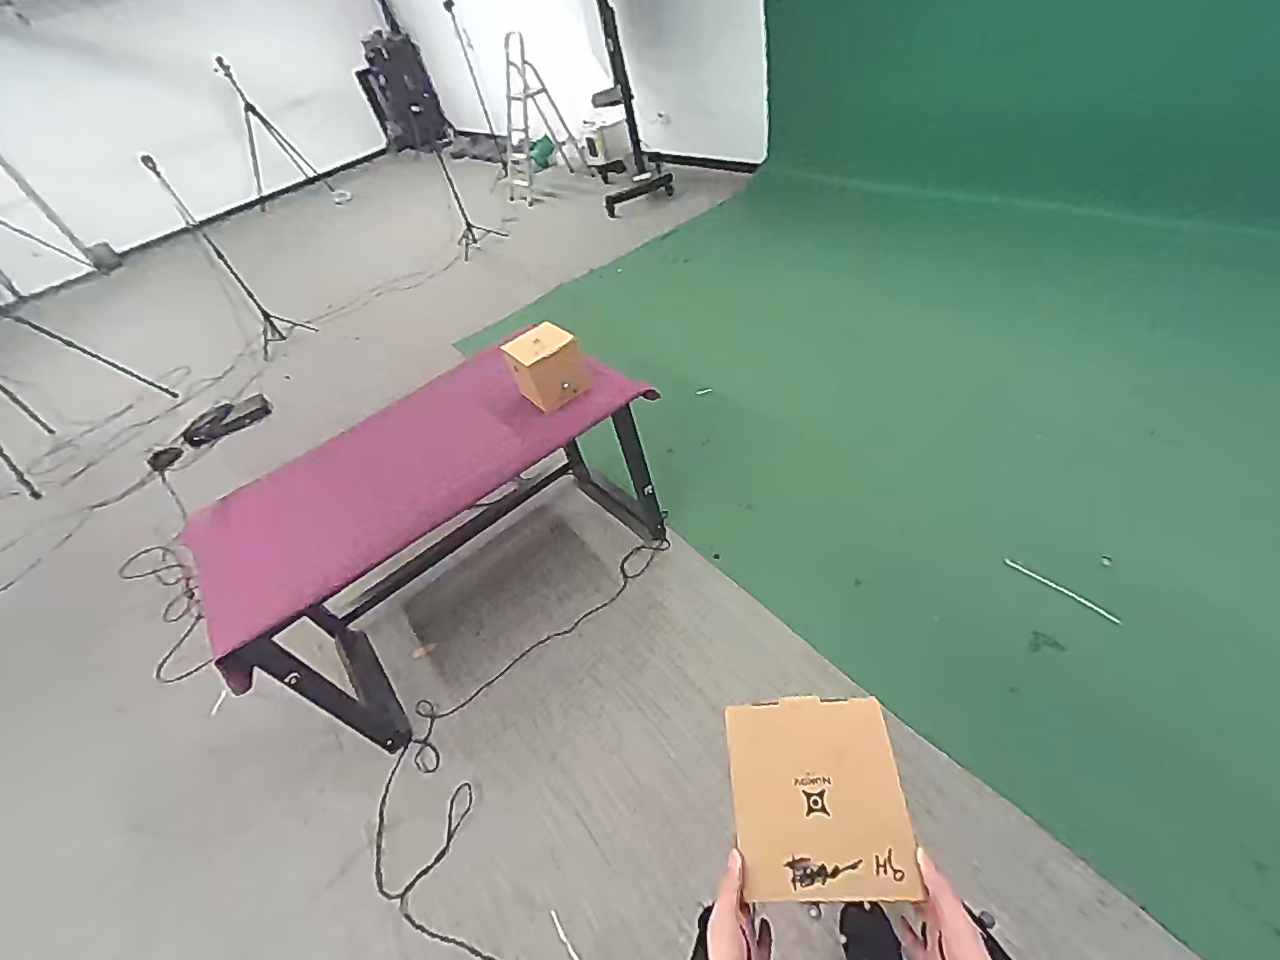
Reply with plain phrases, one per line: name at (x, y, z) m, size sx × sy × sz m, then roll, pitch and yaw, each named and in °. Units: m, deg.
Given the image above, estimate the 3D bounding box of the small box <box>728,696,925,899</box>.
small box at (0.191, 0.356, 0.607) m, size 0.168 × 0.176 × 0.179 m, roll -7°, pitch 55°, yaw 9°

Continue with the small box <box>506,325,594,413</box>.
small box at (-0.261, -0.323, 1.586) m, size 0.168 × 0.176 × 0.179 m, roll -35°, pitch 45°, yaw -17°
